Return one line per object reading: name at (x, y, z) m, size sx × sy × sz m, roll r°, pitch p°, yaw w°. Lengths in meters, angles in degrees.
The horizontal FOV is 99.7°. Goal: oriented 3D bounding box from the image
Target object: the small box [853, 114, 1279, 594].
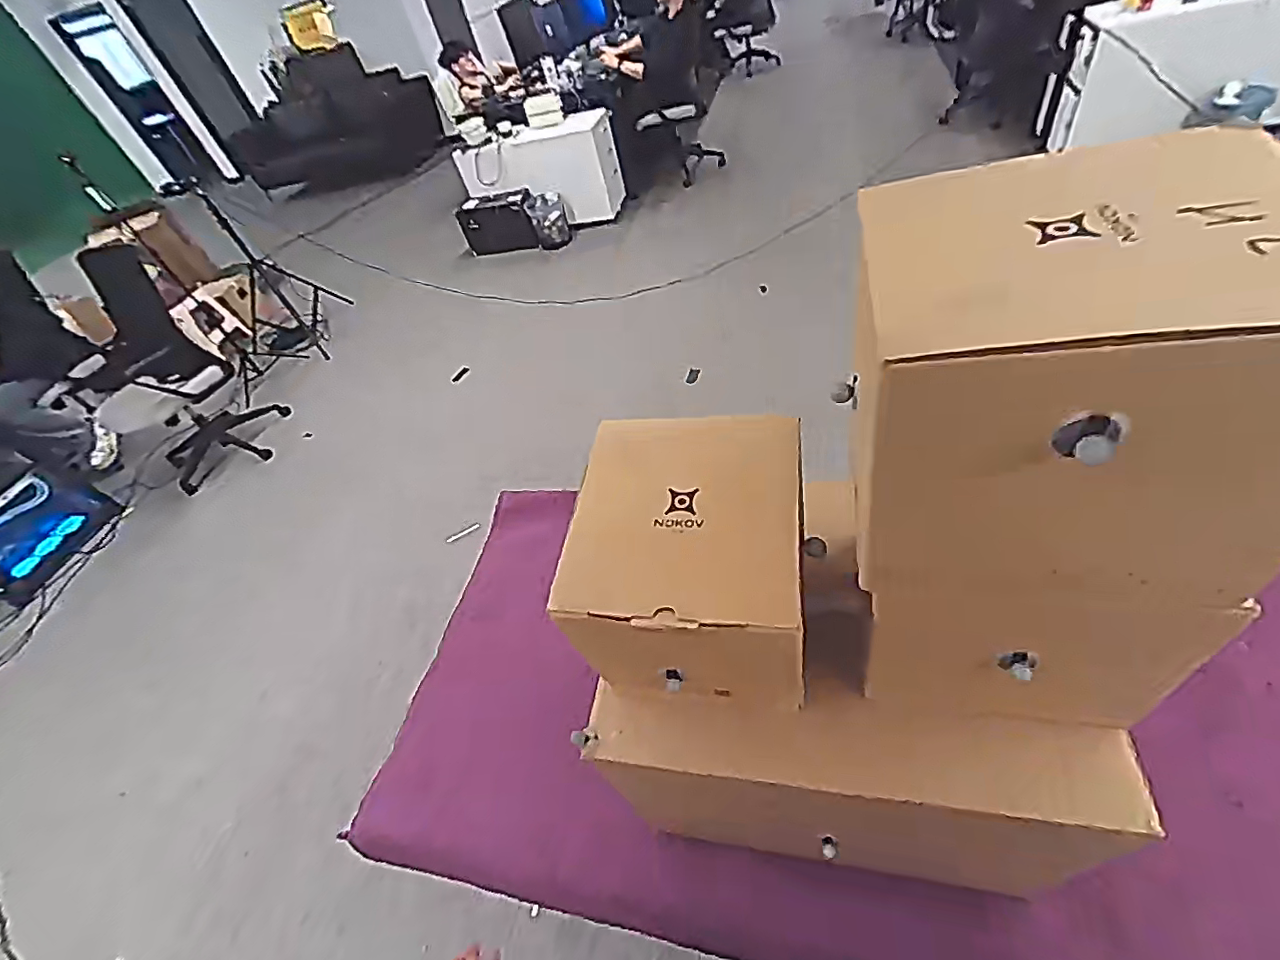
small box at (0.207, -0.055, 0.283) m, size 0.179 × 0.176 × 0.168 m, roll 0°, pitch 48°, yaw 18°
